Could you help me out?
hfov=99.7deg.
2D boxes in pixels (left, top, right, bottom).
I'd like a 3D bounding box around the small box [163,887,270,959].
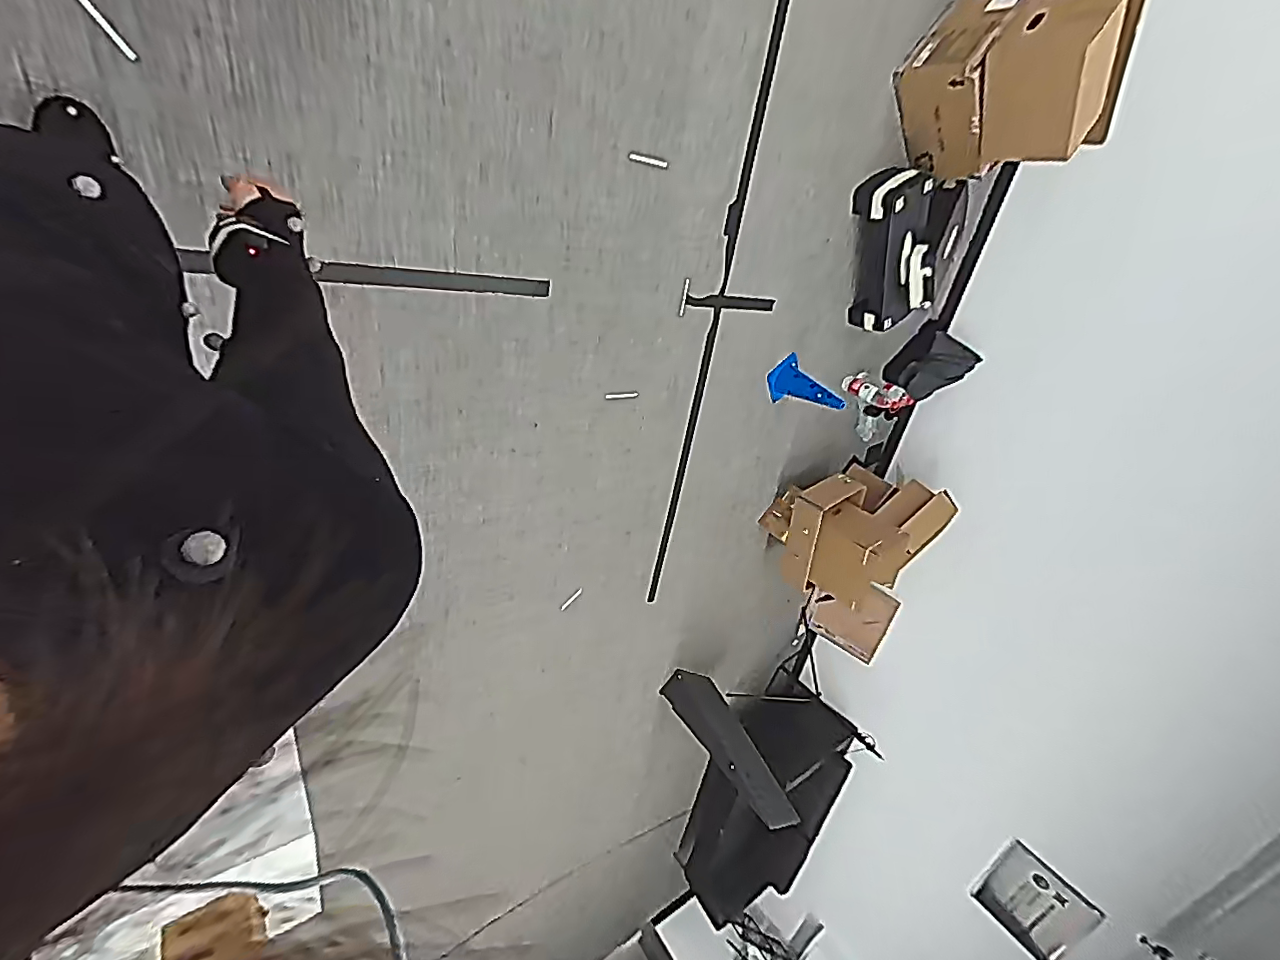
[{"bbox_3d":[-1.020,1.144,1.306,0.179,0.176,0.168,-15,127,-33],"label":"small box"}]
